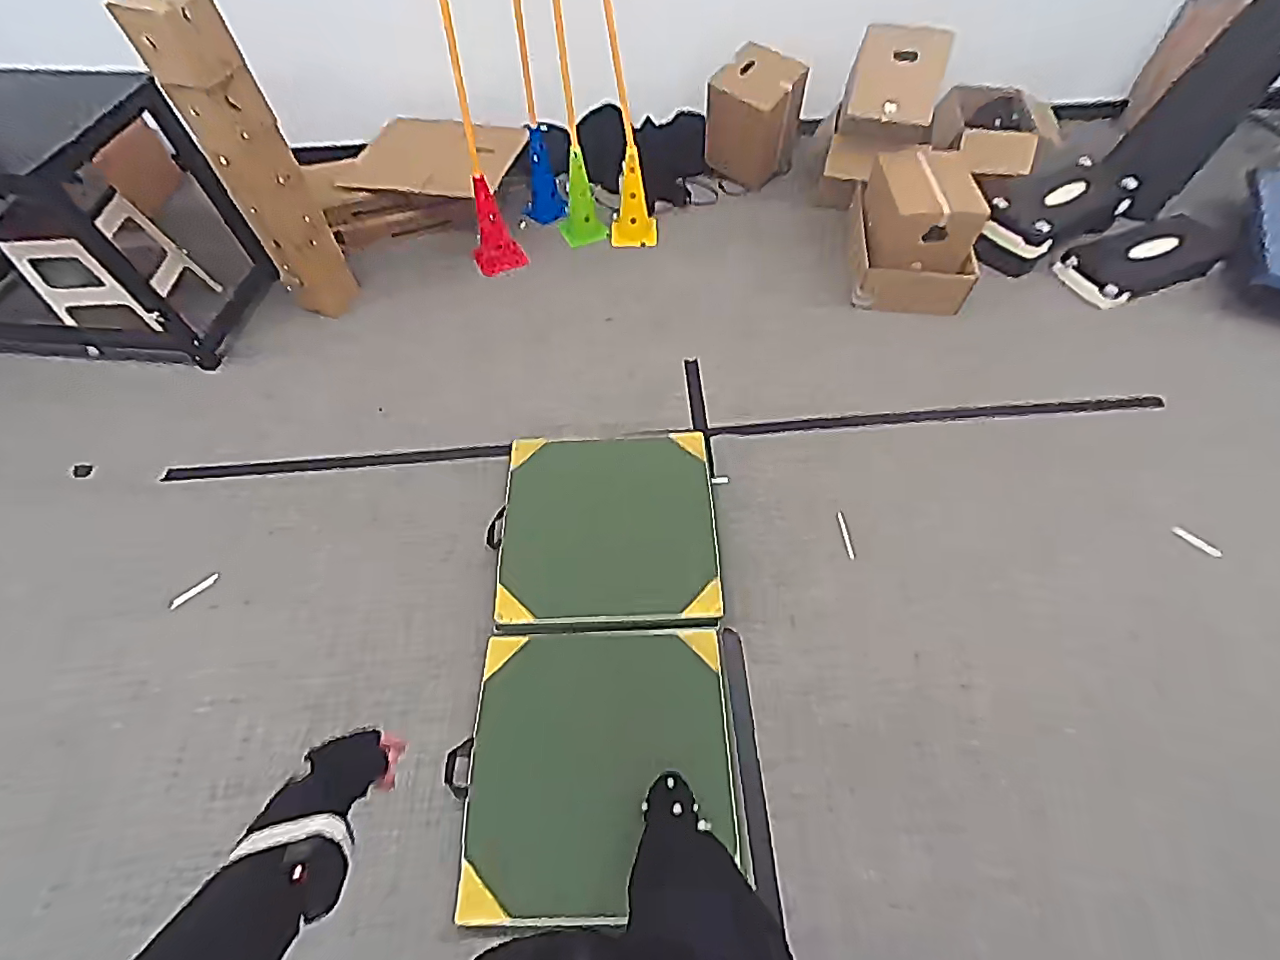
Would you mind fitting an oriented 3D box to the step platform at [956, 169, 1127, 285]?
[{"bbox_3d":[1.705,-1.083,2.296,0.684,0.204,0.286,-28,61,-16],"label":"step platform"}]
